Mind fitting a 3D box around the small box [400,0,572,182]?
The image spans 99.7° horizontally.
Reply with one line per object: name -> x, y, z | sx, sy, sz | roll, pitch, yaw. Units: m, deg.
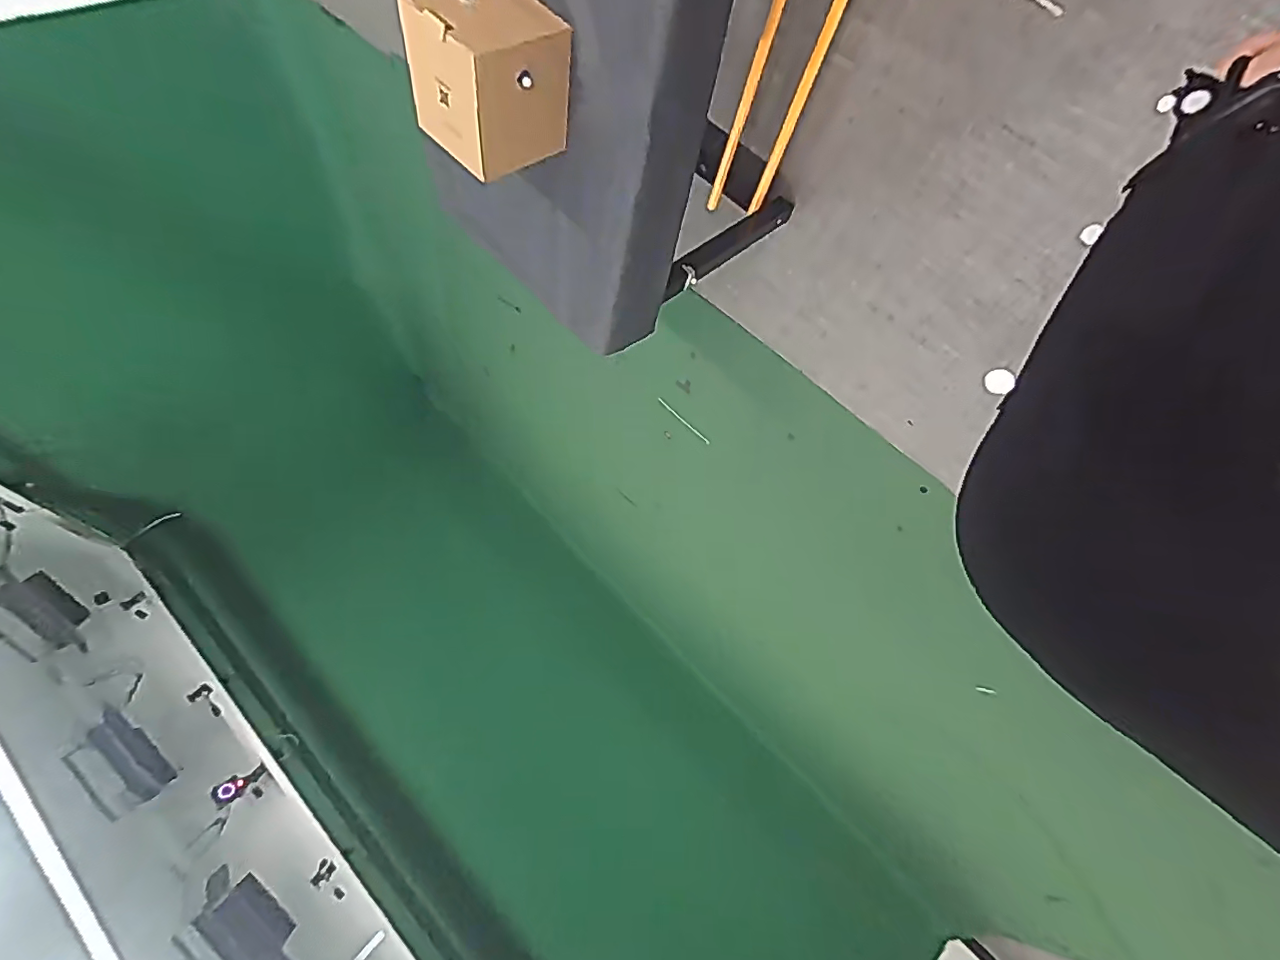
small box -> -0.216, -0.591, 0.797 | 0.168, 0.176, 0.179 | 45, 154, 13
